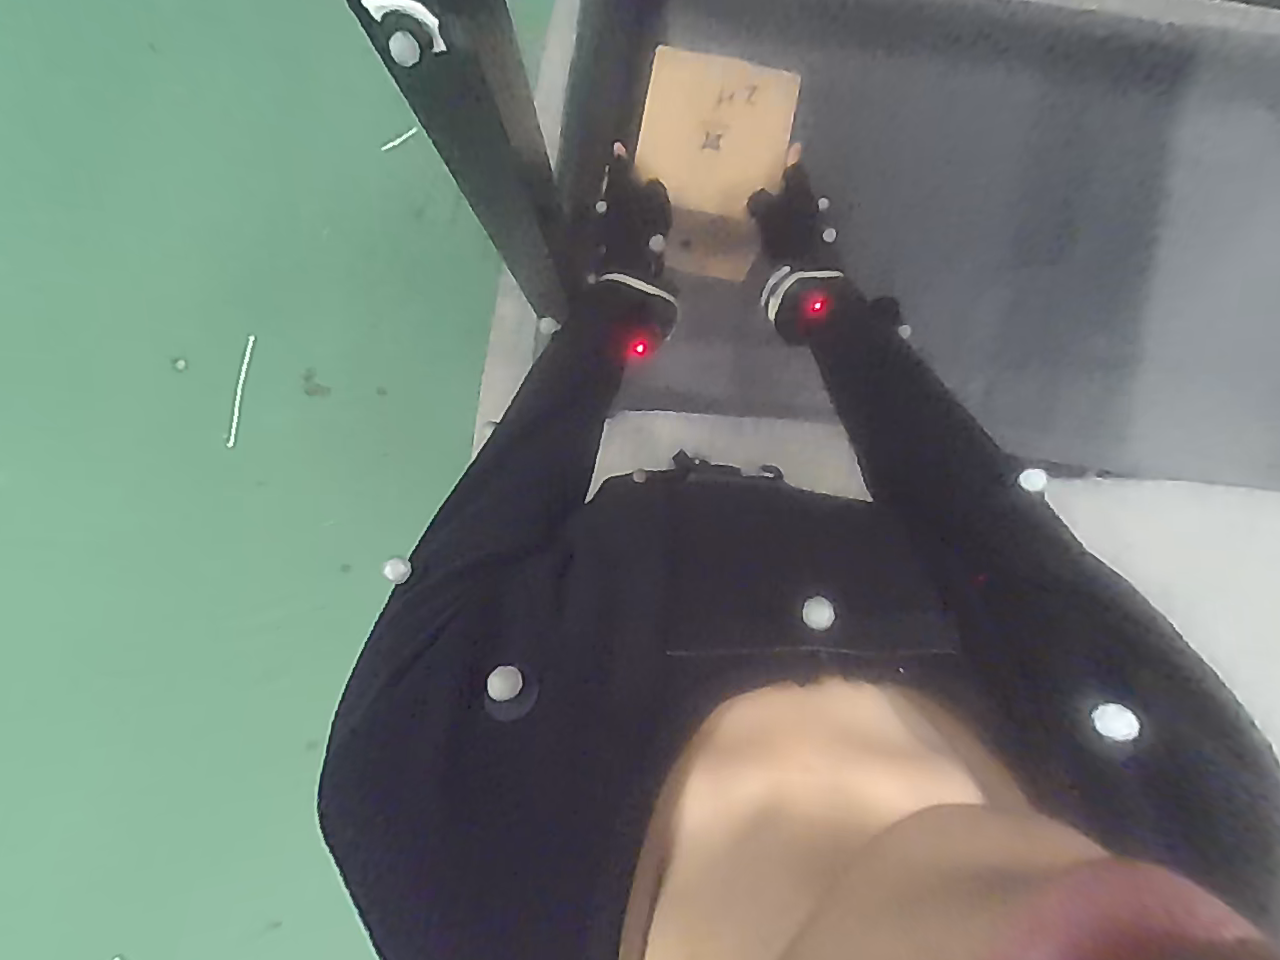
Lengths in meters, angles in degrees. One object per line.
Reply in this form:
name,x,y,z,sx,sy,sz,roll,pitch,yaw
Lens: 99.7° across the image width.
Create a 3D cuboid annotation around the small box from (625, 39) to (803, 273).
small box,0.082,-0.379,0.666,0.168,0.176,0.179,12,90,0
